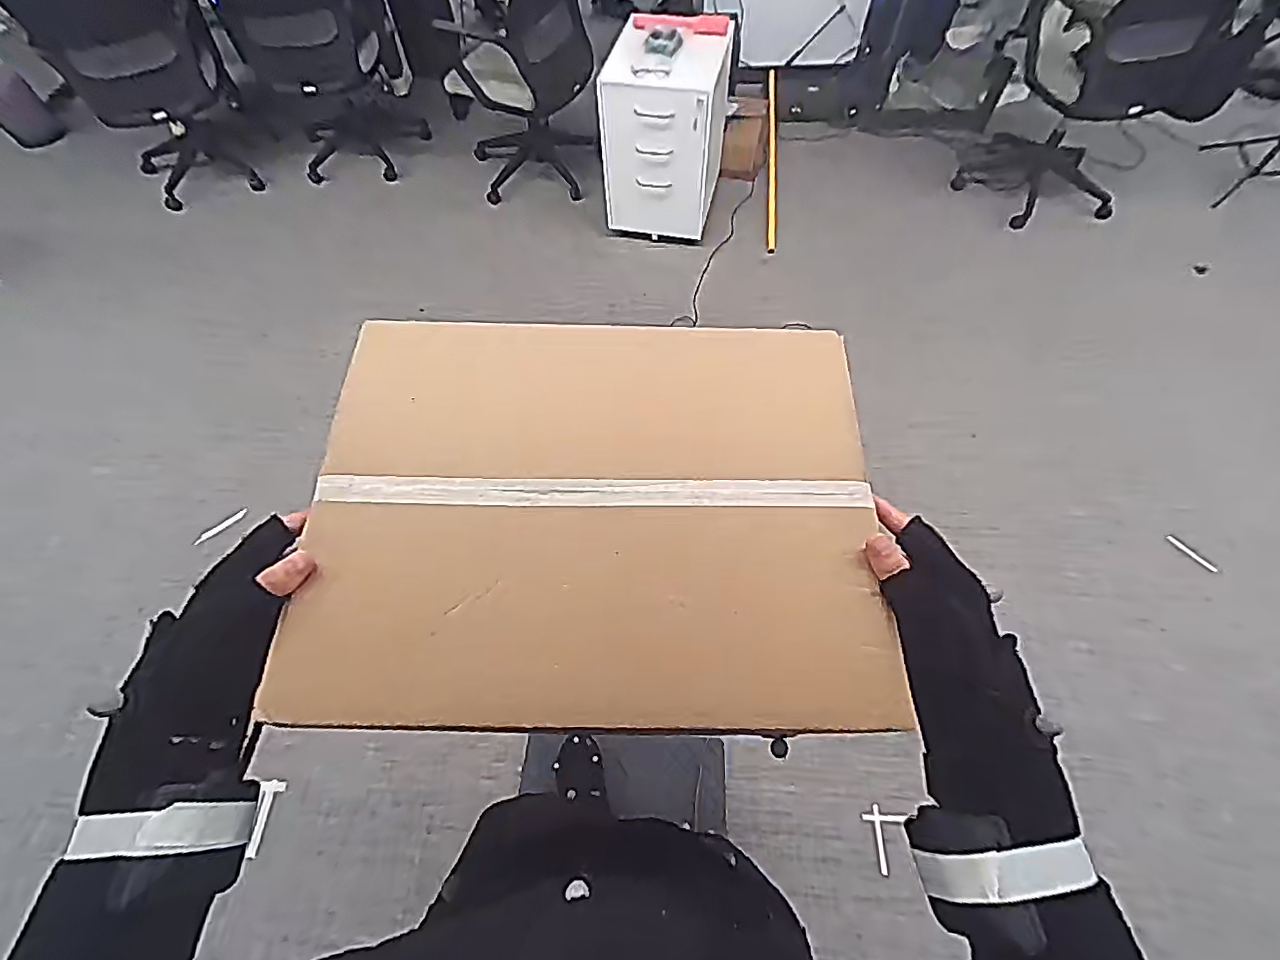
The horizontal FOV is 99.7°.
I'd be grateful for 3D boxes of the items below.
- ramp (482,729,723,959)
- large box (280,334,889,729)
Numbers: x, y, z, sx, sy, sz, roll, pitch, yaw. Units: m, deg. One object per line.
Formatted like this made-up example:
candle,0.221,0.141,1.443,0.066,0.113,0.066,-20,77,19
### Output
ramp,-0.082,1.026,1.053,0.509,0.206,0.991,1,60,2
large box,-0.036,0.076,0.545,0.408,0.320,0.320,1,65,-1
